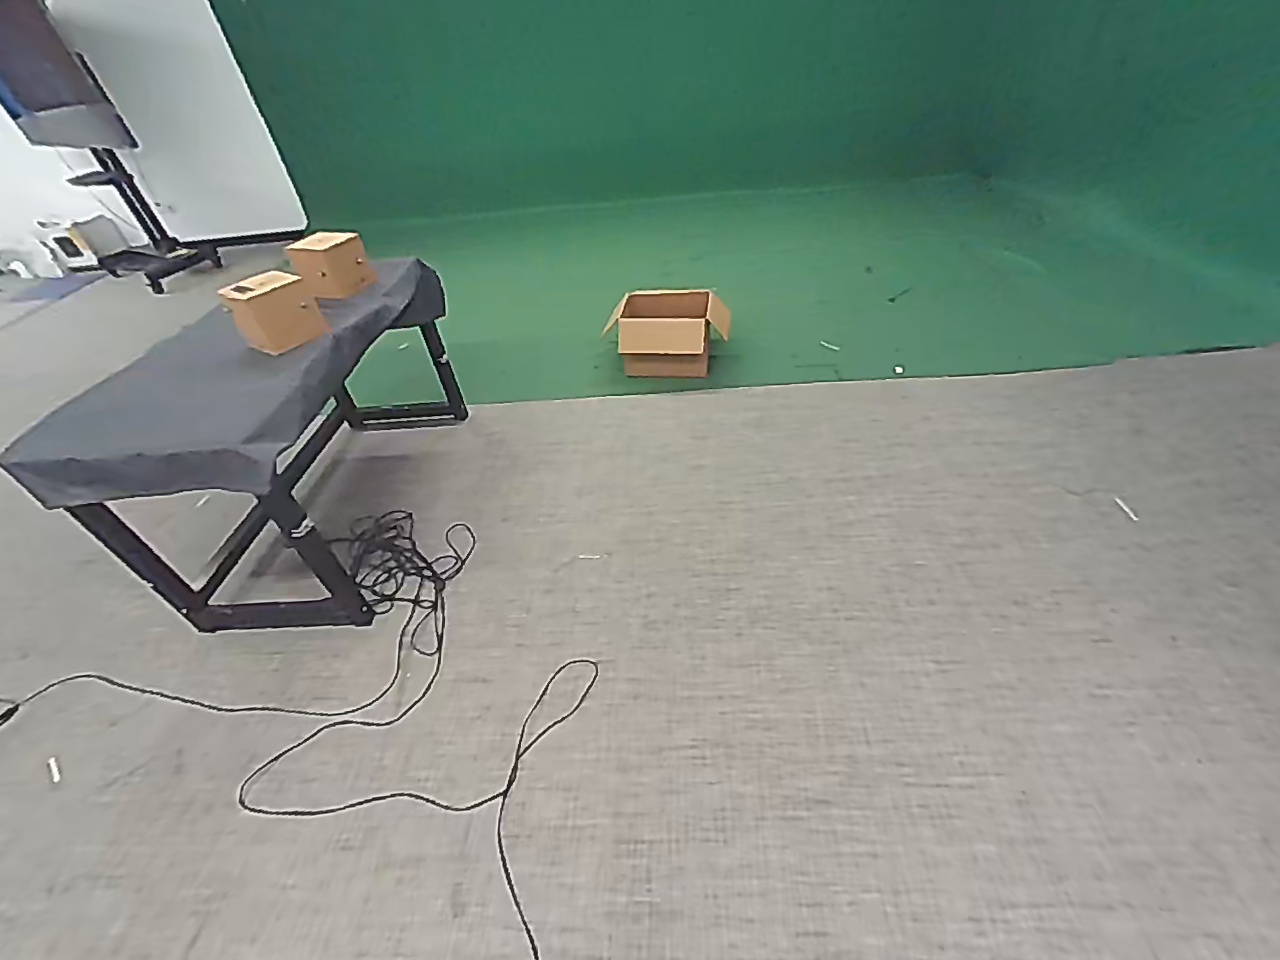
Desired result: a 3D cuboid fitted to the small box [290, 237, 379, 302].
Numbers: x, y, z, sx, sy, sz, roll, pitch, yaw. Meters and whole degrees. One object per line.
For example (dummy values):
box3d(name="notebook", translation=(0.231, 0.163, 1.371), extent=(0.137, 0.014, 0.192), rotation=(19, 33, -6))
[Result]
box3d(name="small box", translation=(-1.048, -0.727, 1.873), extent=(0.179, 0.176, 0.168), rotation=(9, 42, 19))
